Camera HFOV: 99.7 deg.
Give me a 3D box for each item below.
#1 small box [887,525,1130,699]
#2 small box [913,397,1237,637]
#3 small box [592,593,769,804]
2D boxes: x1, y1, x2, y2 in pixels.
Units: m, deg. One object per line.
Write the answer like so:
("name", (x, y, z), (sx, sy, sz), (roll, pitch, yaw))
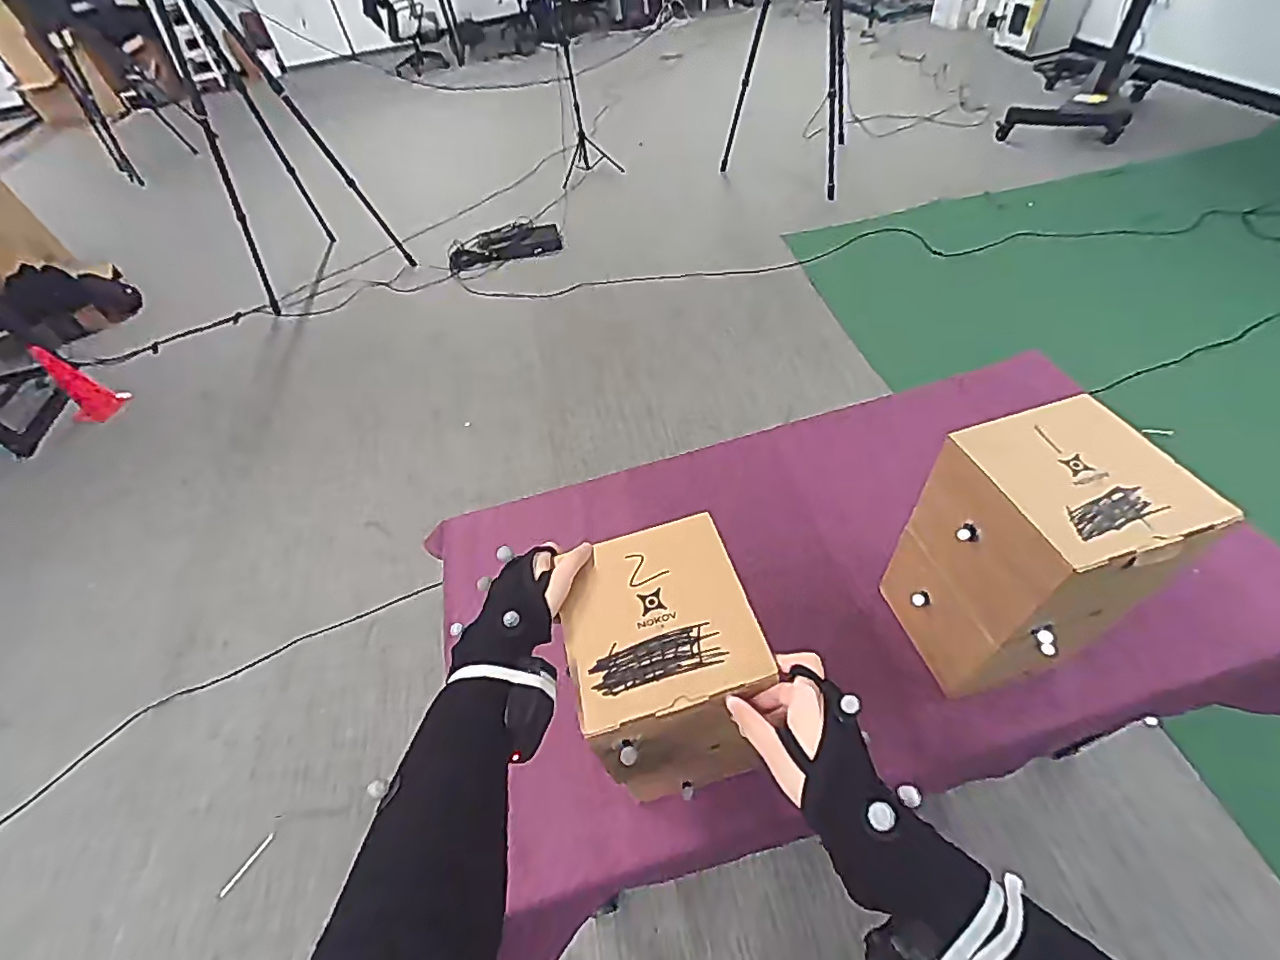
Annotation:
("small box", (0.449, 0.152, 0.700), (0.168, 0.176, 0.179), (-17, 49, -3))
("small box", (0.428, 0.047, 0.575), (0.168, 0.176, 0.179), (-16, 49, -4))
("small box", (0.047, 0.272, 0.671), (0.168, 0.176, 0.179), (-16, 51, -3))
